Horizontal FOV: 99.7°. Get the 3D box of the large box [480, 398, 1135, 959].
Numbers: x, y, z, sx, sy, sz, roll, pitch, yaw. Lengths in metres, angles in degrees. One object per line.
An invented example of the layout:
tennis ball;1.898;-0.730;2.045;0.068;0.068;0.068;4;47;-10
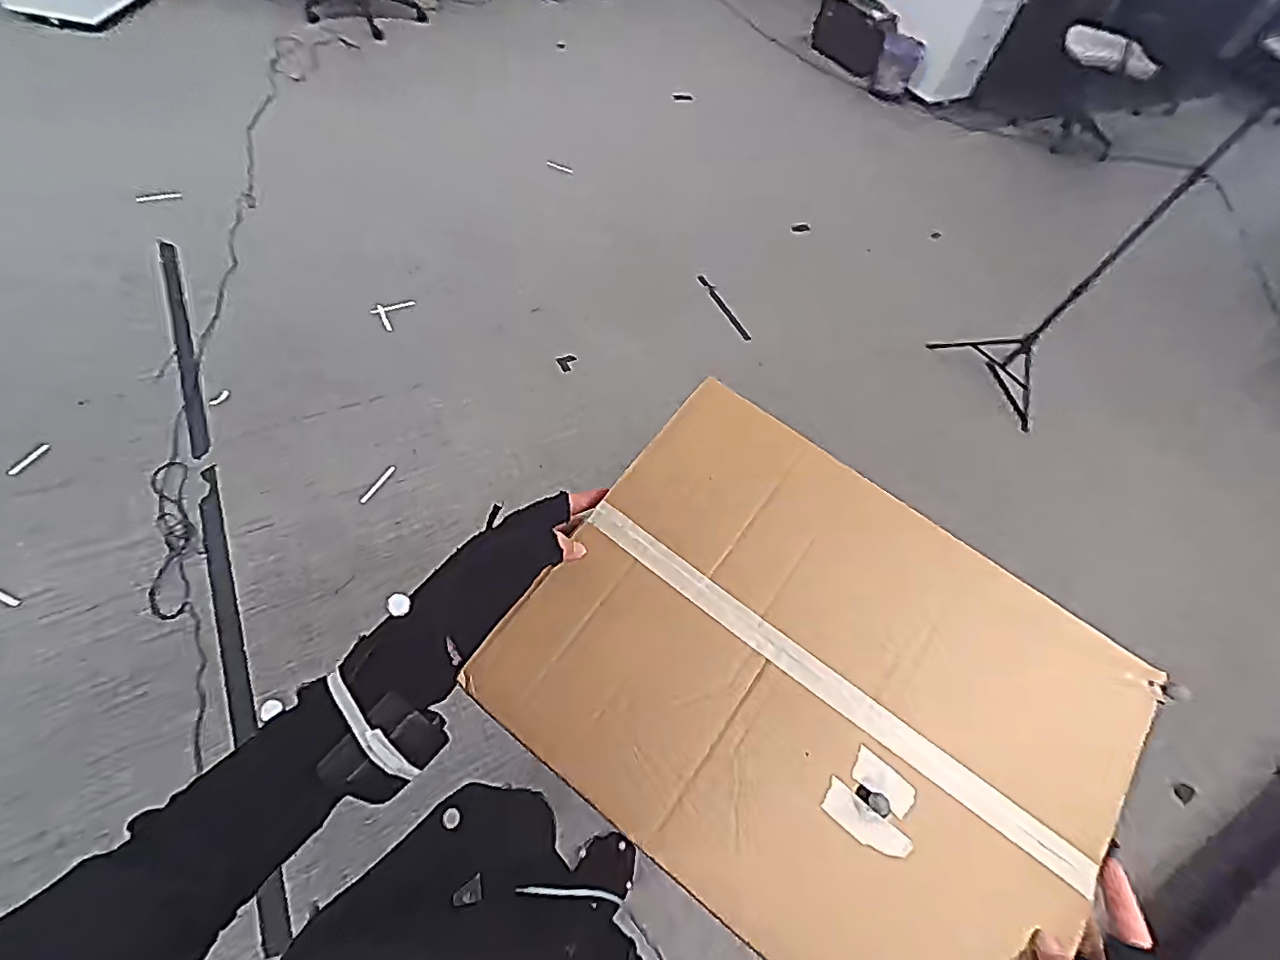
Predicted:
large box;0.122;0.199;0.537;0.408;0.320;0.320;36;72;11
